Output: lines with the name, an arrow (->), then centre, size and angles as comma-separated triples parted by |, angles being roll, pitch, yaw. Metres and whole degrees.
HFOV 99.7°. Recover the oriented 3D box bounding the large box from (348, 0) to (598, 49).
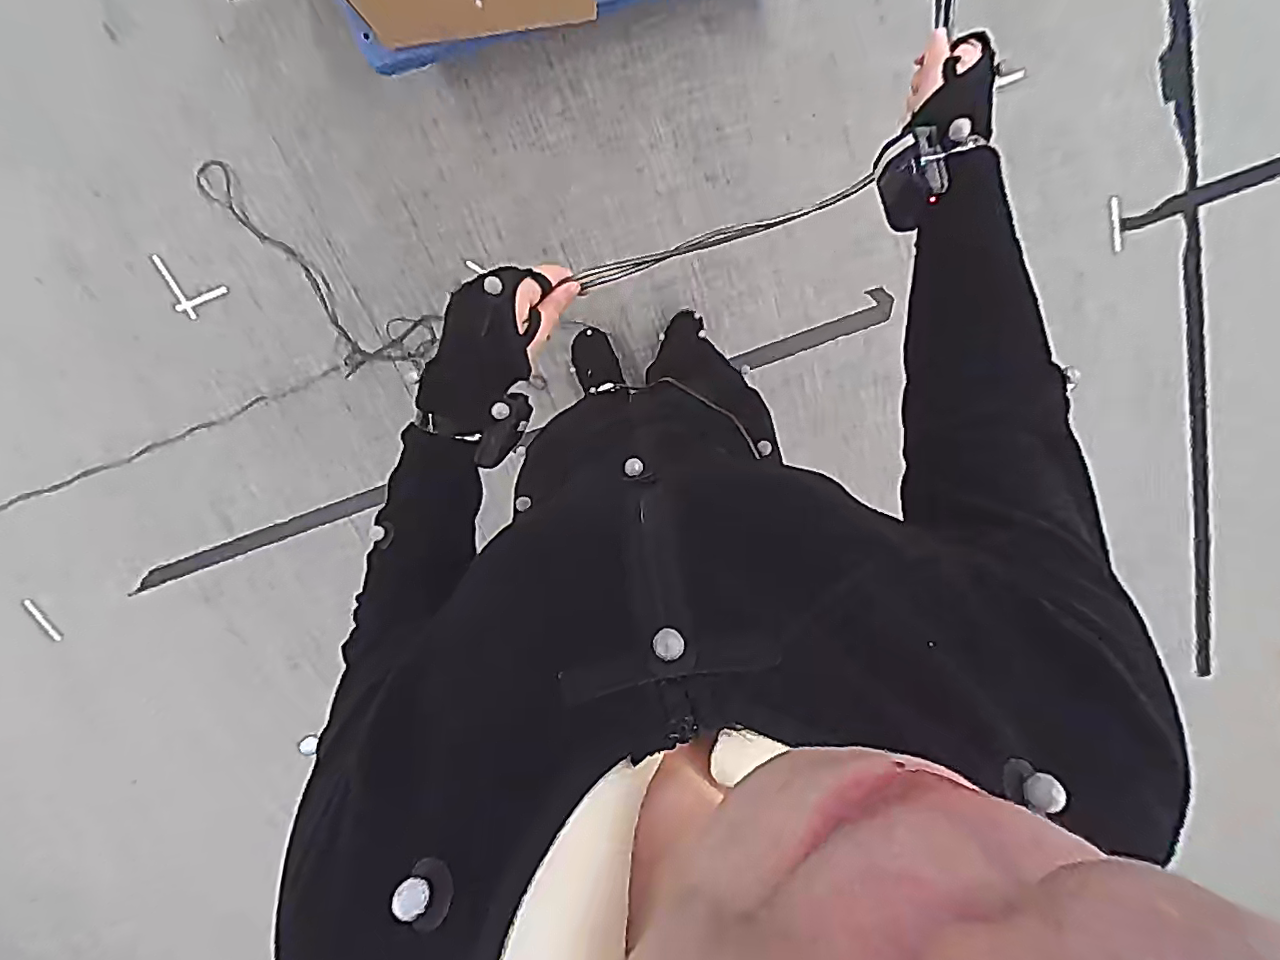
large box -> -0.291, -0.941, 0.837 | 0.408, 0.320, 0.320 | -9, 108, 0
